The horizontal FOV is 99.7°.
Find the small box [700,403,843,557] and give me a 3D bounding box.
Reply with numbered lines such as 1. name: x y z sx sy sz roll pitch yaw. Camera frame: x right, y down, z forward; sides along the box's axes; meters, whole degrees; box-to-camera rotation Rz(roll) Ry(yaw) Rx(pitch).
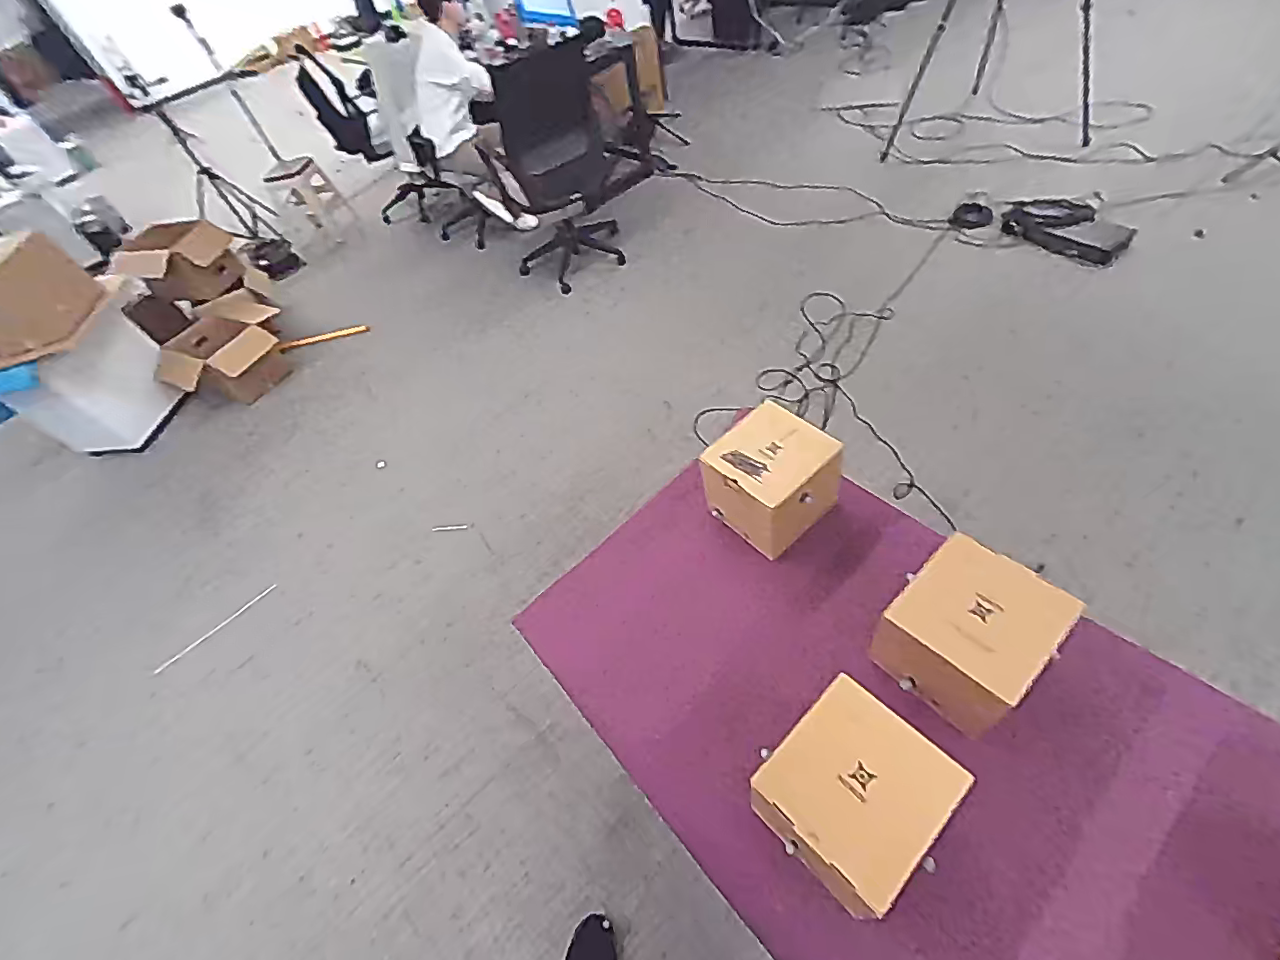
1. small box: 0.232 0.004 0.957 0.179 0.176 0.168 -38 54 -16

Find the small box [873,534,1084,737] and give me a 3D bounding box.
1. small box: 0.446 0.215 0.743 0.179 0.176 0.168 -40 53 -17

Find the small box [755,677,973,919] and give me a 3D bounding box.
1. small box: 0.256 0.381 0.656 0.179 0.176 0.168 -41 54 -18
